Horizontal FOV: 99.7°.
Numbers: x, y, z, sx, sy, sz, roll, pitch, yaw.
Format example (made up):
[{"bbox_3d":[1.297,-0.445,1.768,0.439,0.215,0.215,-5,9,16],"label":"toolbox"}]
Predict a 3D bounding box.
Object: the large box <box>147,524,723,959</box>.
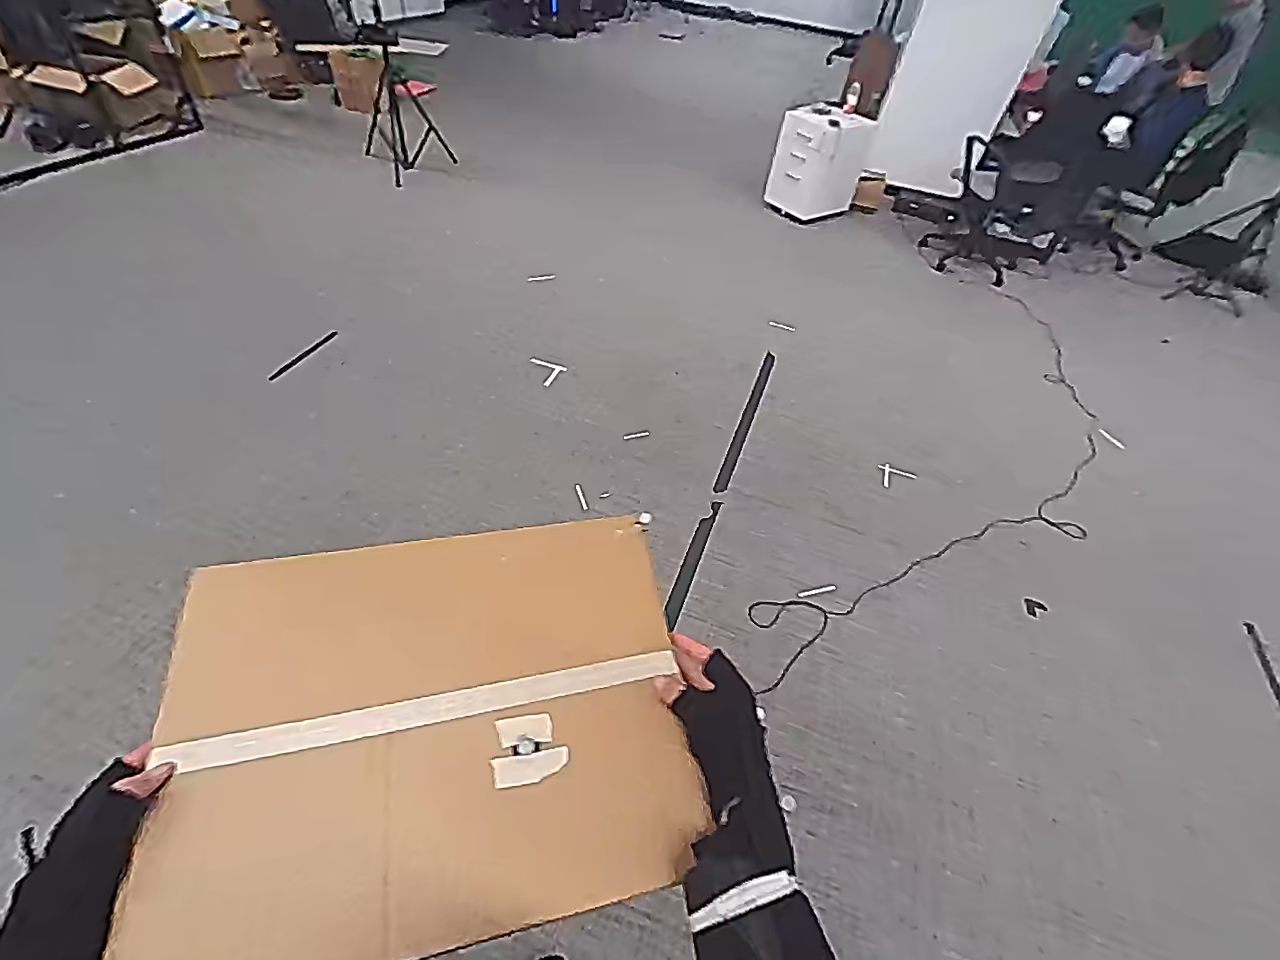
[{"bbox_3d":[-0.176,0.275,0.580,0.408,0.320,0.320,-5,59,-13],"label":"large box"}]
